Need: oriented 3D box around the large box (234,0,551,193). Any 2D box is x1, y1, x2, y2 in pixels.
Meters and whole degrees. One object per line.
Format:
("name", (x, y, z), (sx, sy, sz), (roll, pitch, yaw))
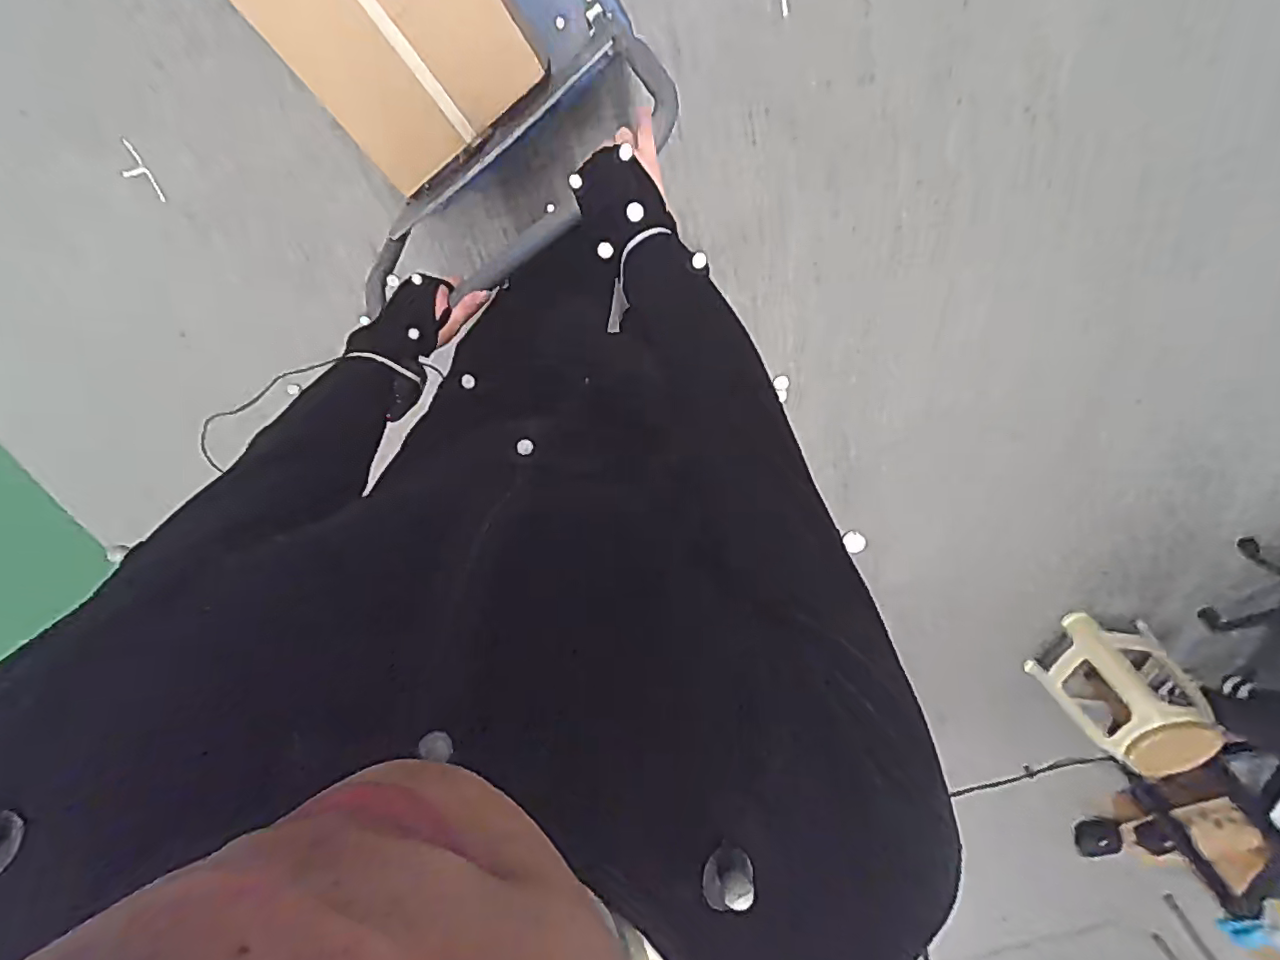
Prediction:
("large box", (-0.393, -0.774, 0.883), (0.320, 0.320, 0.408), (-30, 128, 17))
